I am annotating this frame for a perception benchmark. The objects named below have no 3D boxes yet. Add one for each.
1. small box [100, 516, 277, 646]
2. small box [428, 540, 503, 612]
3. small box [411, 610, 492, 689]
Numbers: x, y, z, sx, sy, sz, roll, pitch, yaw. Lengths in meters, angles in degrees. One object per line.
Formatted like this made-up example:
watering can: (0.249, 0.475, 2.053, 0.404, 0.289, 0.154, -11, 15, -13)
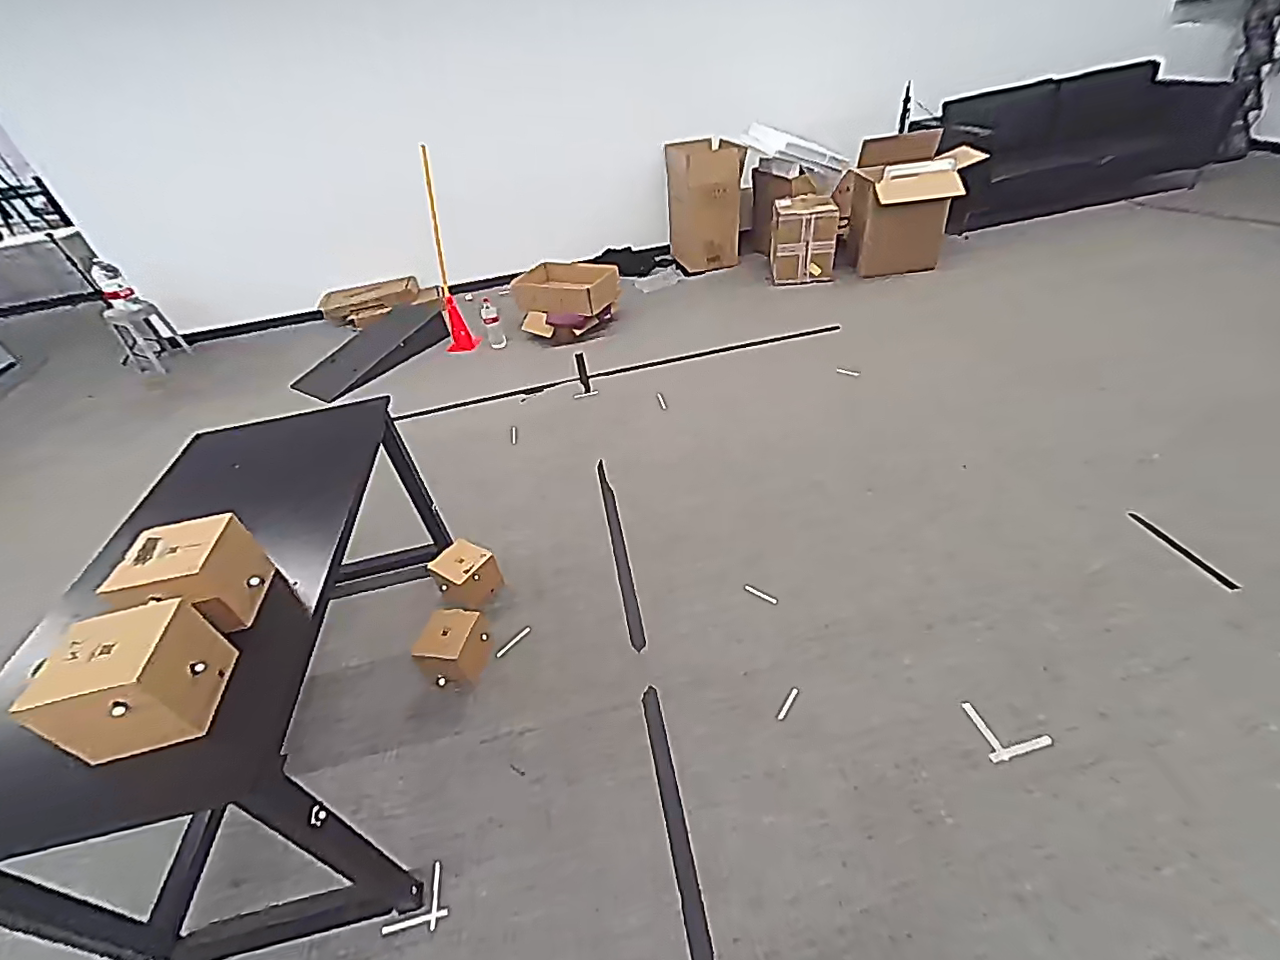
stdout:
small box: (-0.870, 0.201, 1.064, 0.179, 0.176, 0.168, -12, 40, -5)
small box: (-0.634, 0.354, 1.983, 0.179, 0.176, 0.168, 18, 47, 28)
small box: (-0.600, 0.546, 1.750, 0.168, 0.176, 0.179, 1, 41, 13)
